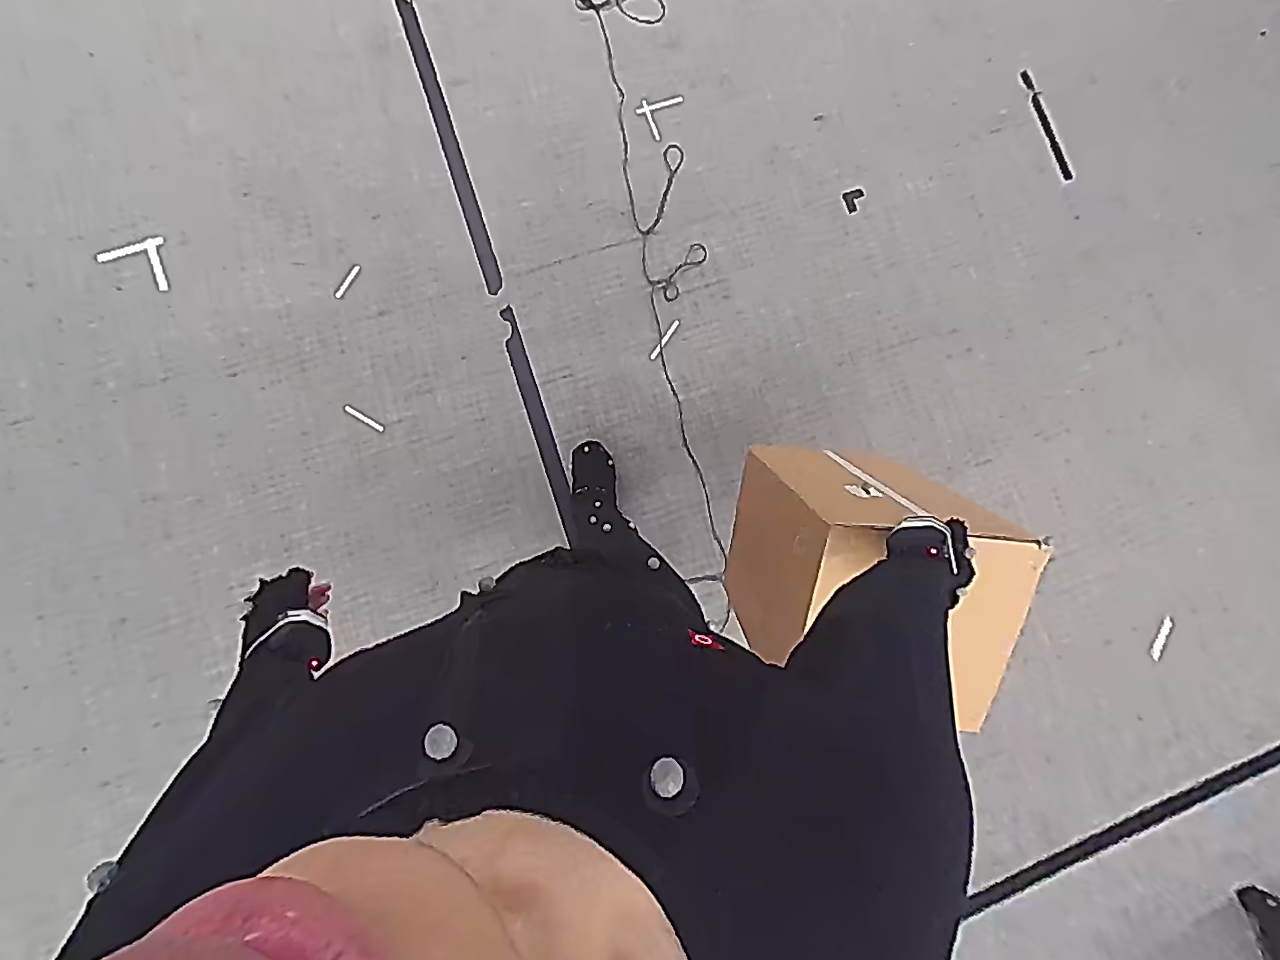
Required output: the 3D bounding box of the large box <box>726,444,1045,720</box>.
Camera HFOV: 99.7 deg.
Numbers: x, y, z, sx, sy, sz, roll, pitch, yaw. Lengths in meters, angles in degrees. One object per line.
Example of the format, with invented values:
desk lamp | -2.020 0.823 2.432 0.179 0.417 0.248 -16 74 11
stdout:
large box | 0.368 0.150 0.951 0.320 0.408 0.320 5 109 -6
